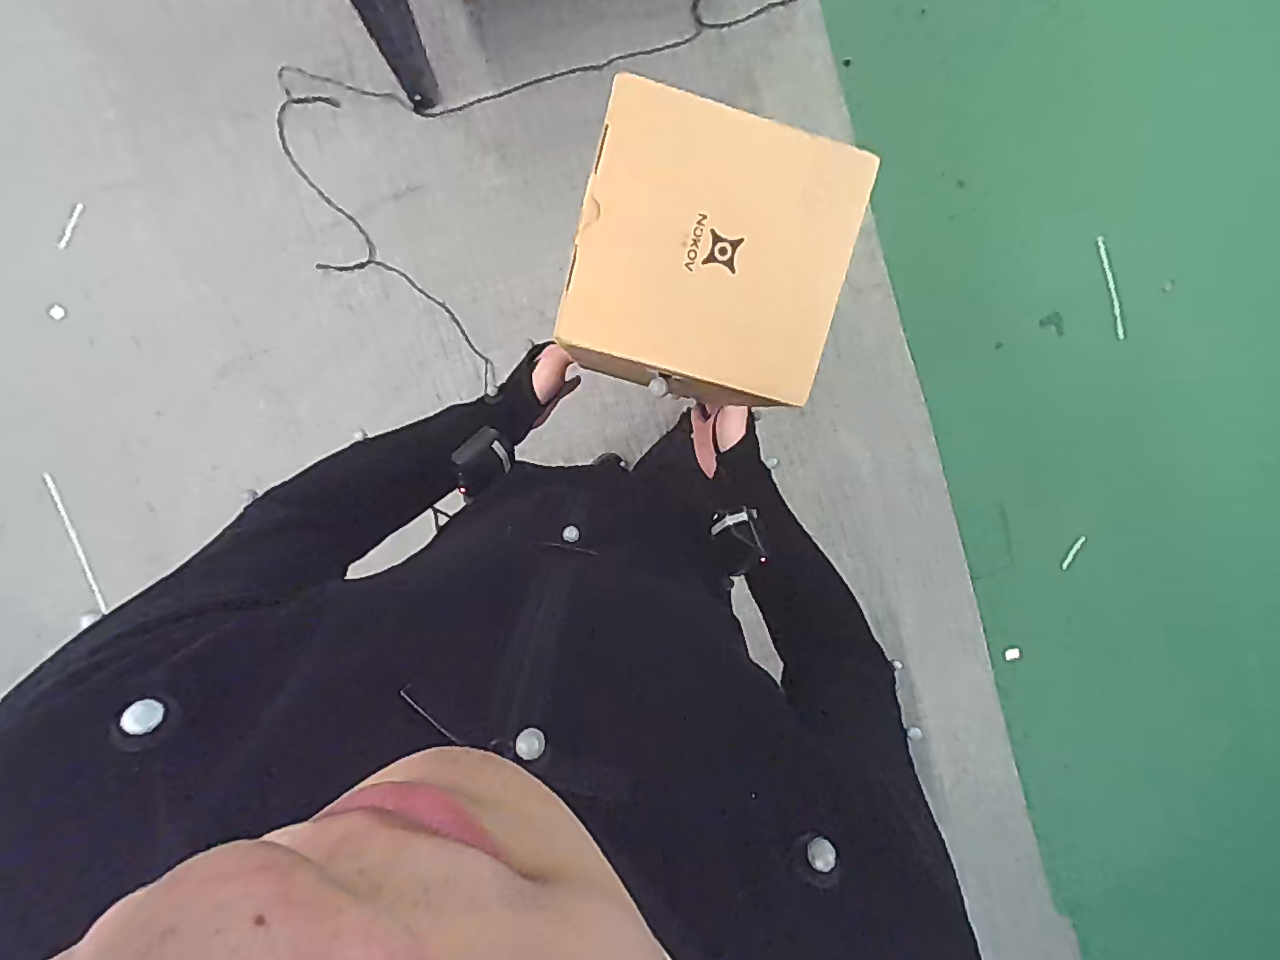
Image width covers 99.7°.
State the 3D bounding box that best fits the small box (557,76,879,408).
[{"bbox_3d":[0.045,-0.160,0.425,0.179,0.176,0.168,14,98,-5],"label":"small box"}]
